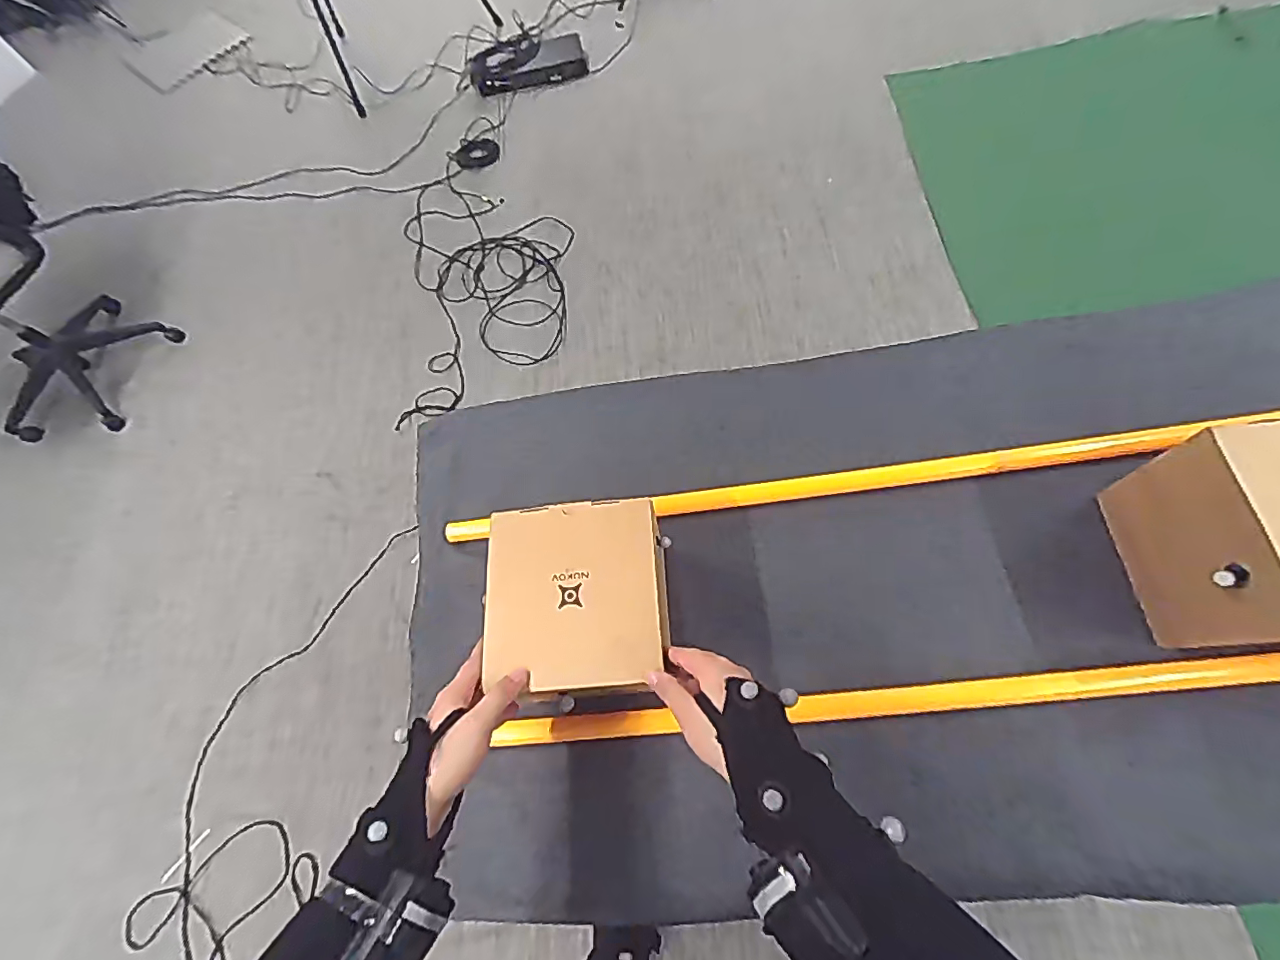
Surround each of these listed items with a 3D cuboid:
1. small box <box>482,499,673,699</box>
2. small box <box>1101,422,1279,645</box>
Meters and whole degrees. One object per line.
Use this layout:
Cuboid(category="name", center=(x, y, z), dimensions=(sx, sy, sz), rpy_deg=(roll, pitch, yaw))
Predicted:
Cuboid(category="small box", center=(-0.056, 0.137, 0.579), dimensions=(0.168, 0.176, 0.179), rpy_deg=(-6, 65, 4))
Cuboid(category="small box", center=(0.594, 0.058, 0.507), dimensions=(0.168, 0.176, 0.179), rpy_deg=(-5, 66, 8))
